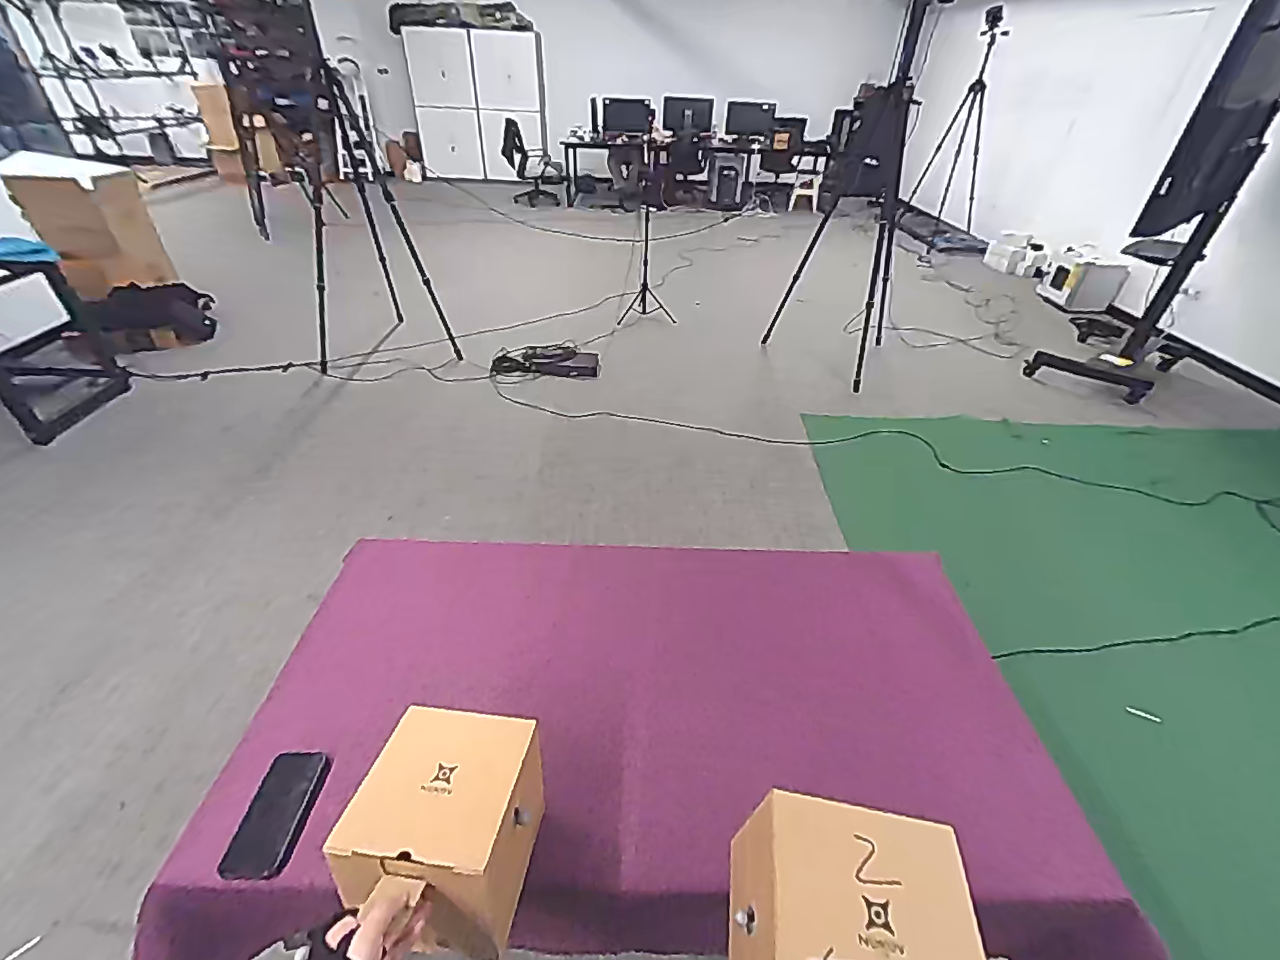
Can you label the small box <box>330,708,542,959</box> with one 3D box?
[{"bbox_3d":[-0.216,0.402,0.624,0.168,0.176,0.179,6,27,6],"label":"small box"}]
